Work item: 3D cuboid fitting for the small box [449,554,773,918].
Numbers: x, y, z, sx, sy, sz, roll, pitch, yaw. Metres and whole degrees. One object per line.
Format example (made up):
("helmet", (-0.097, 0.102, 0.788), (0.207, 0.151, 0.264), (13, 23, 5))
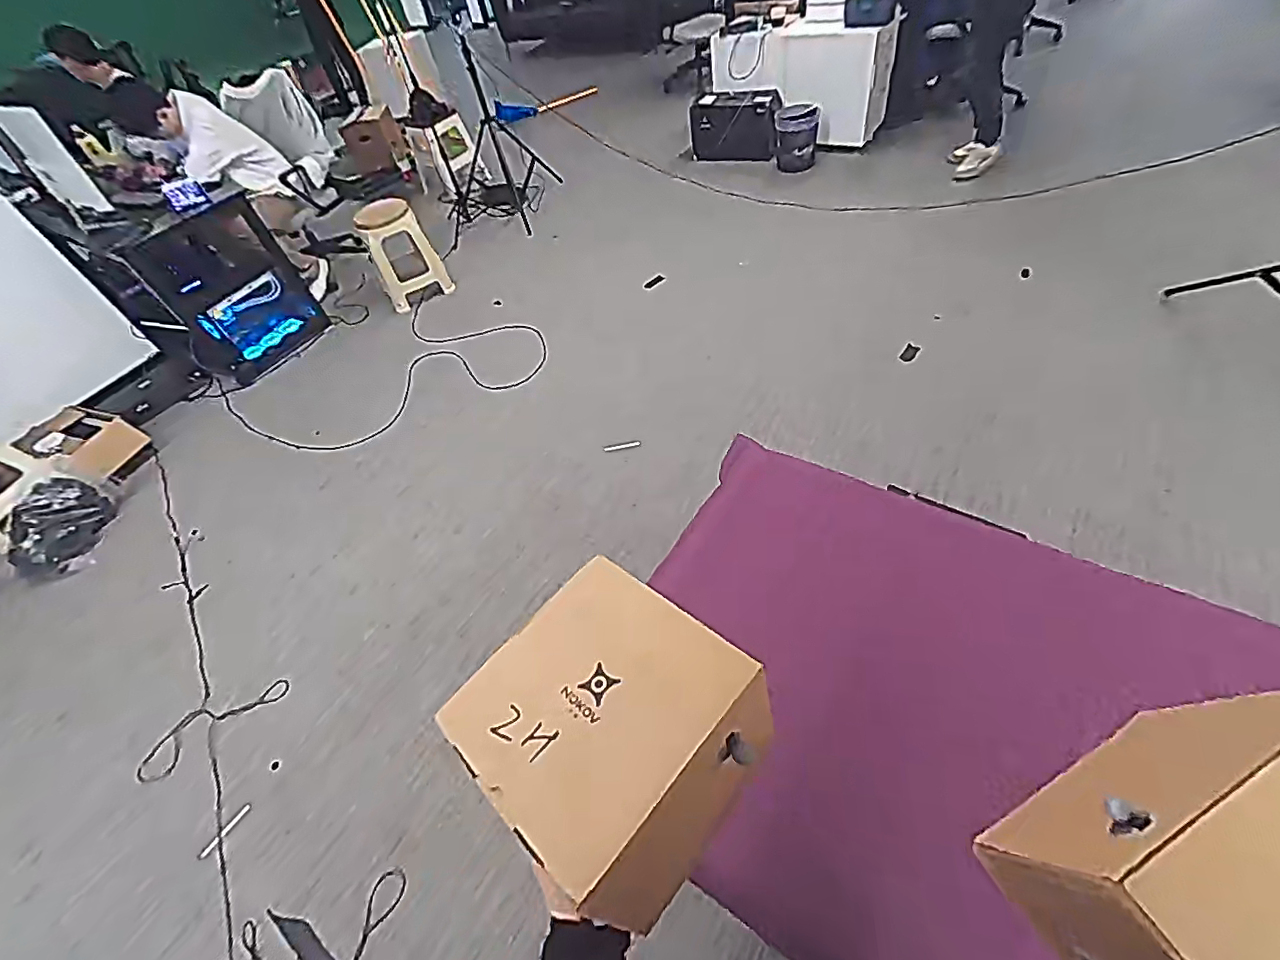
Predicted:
("small box", (-0.008, 0.200, 0.434), (0.168, 0.176, 0.179), (28, 62, 37))

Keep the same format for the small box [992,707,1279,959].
("small box", (0.345, 0.240, 0.294), (0.179, 0.176, 0.168), (-30, 62, -7))
